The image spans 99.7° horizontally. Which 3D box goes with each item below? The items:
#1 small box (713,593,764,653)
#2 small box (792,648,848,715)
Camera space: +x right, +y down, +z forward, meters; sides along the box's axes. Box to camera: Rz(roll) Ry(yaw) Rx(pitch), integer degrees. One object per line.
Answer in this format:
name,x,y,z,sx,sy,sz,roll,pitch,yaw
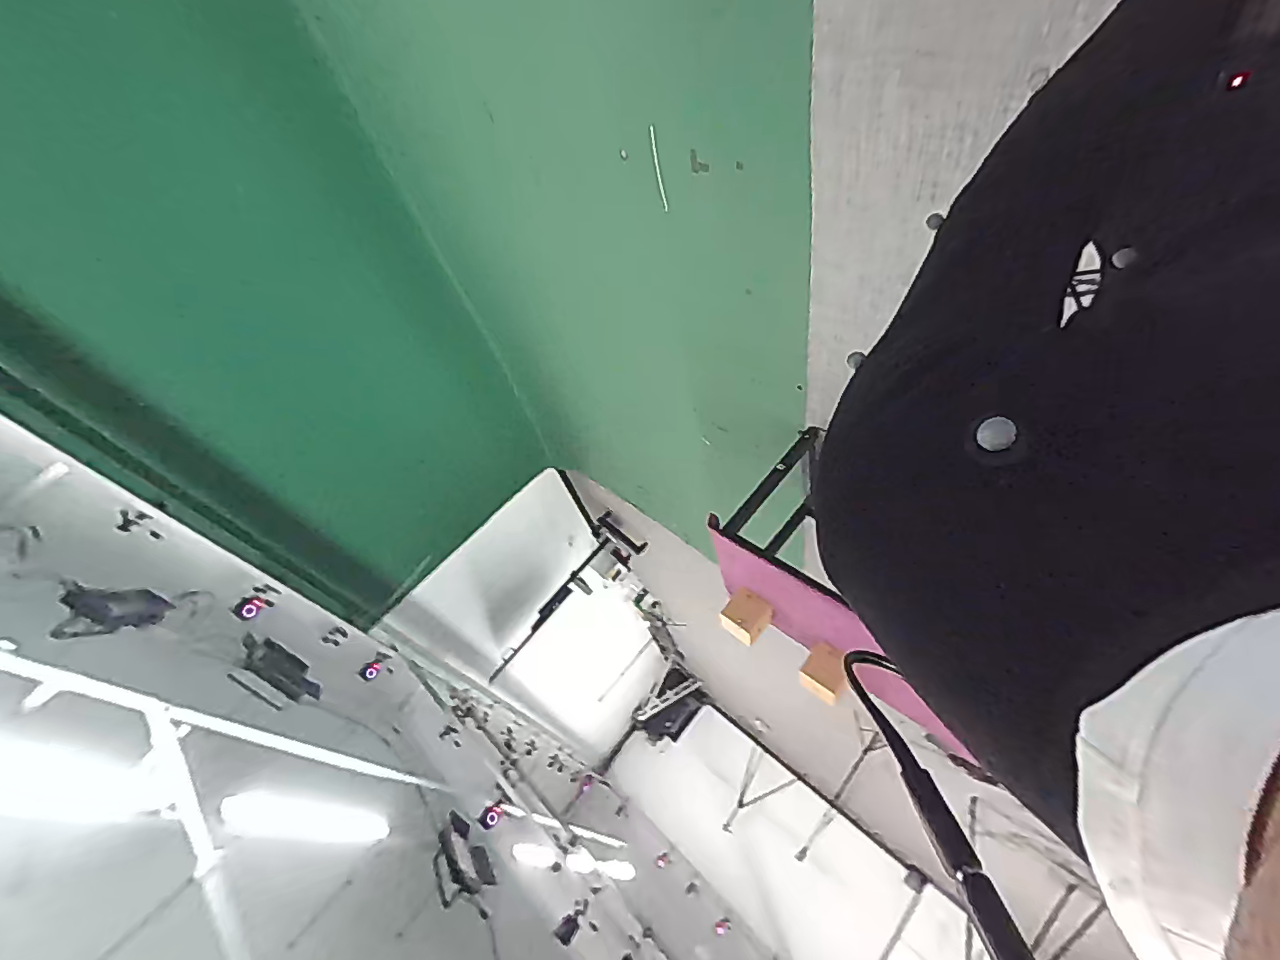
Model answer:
small box,0.456,0.654,2.480,0.168,0.176,0.179,31,156,31
small box,0.754,0.843,2.269,0.168,0.176,0.179,30,154,34
